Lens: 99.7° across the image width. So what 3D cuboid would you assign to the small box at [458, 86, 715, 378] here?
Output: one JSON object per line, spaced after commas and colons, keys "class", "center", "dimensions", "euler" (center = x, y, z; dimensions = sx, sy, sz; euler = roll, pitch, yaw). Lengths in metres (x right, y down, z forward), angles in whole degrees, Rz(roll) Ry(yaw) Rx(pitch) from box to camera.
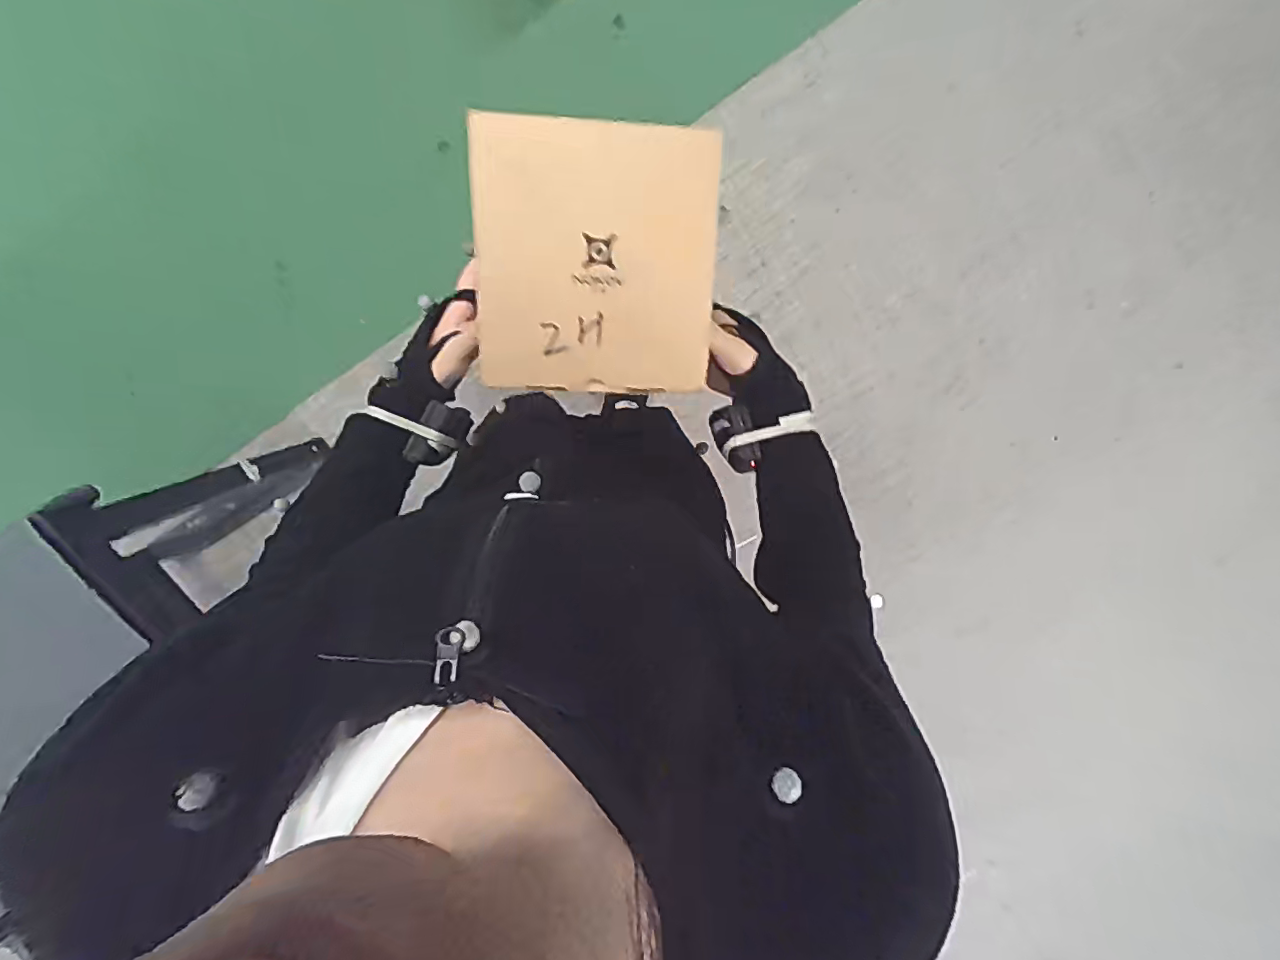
{"class": "small box", "center": [-0.043, -0.180, 0.438], "dimensions": [0.168, 0.176, 0.179], "euler": [0, 107, -6]}
